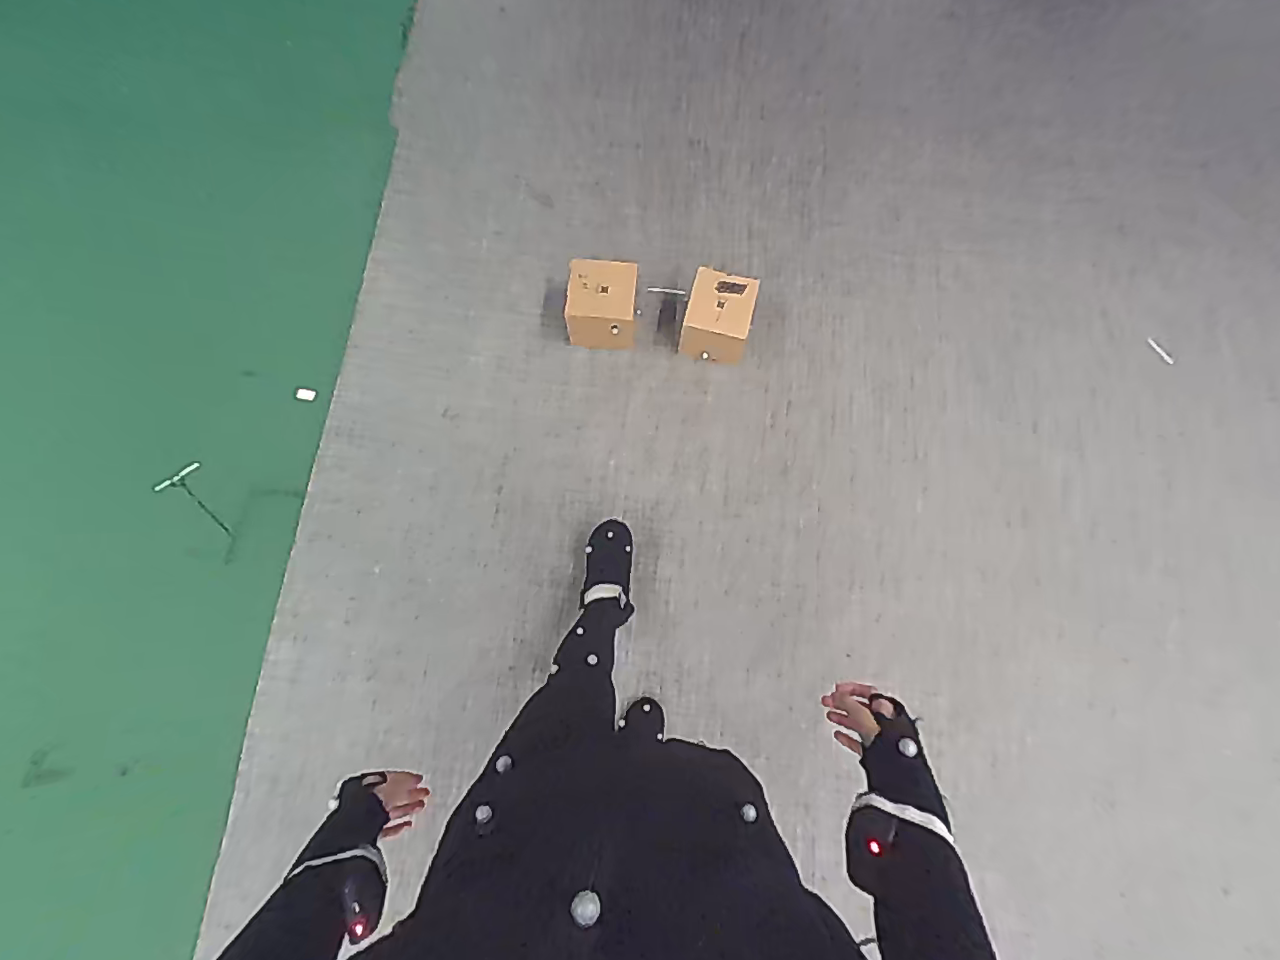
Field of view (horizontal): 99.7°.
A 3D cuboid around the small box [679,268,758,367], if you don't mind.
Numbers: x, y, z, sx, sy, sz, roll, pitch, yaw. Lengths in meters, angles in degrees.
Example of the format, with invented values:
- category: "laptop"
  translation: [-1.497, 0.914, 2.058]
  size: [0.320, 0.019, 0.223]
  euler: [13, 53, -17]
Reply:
- category: "small box"
  translation: [0.205, -0.432, 1.456]
  size: [0.168, 0.176, 0.179]
  euler: [14, 77, 3]

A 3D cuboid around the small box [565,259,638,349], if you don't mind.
- category: "small box"
  translation: [-0.098, -0.467, 1.460]
  size: [0.179, 0.176, 0.168]
  euler: [5, 76, 1]
